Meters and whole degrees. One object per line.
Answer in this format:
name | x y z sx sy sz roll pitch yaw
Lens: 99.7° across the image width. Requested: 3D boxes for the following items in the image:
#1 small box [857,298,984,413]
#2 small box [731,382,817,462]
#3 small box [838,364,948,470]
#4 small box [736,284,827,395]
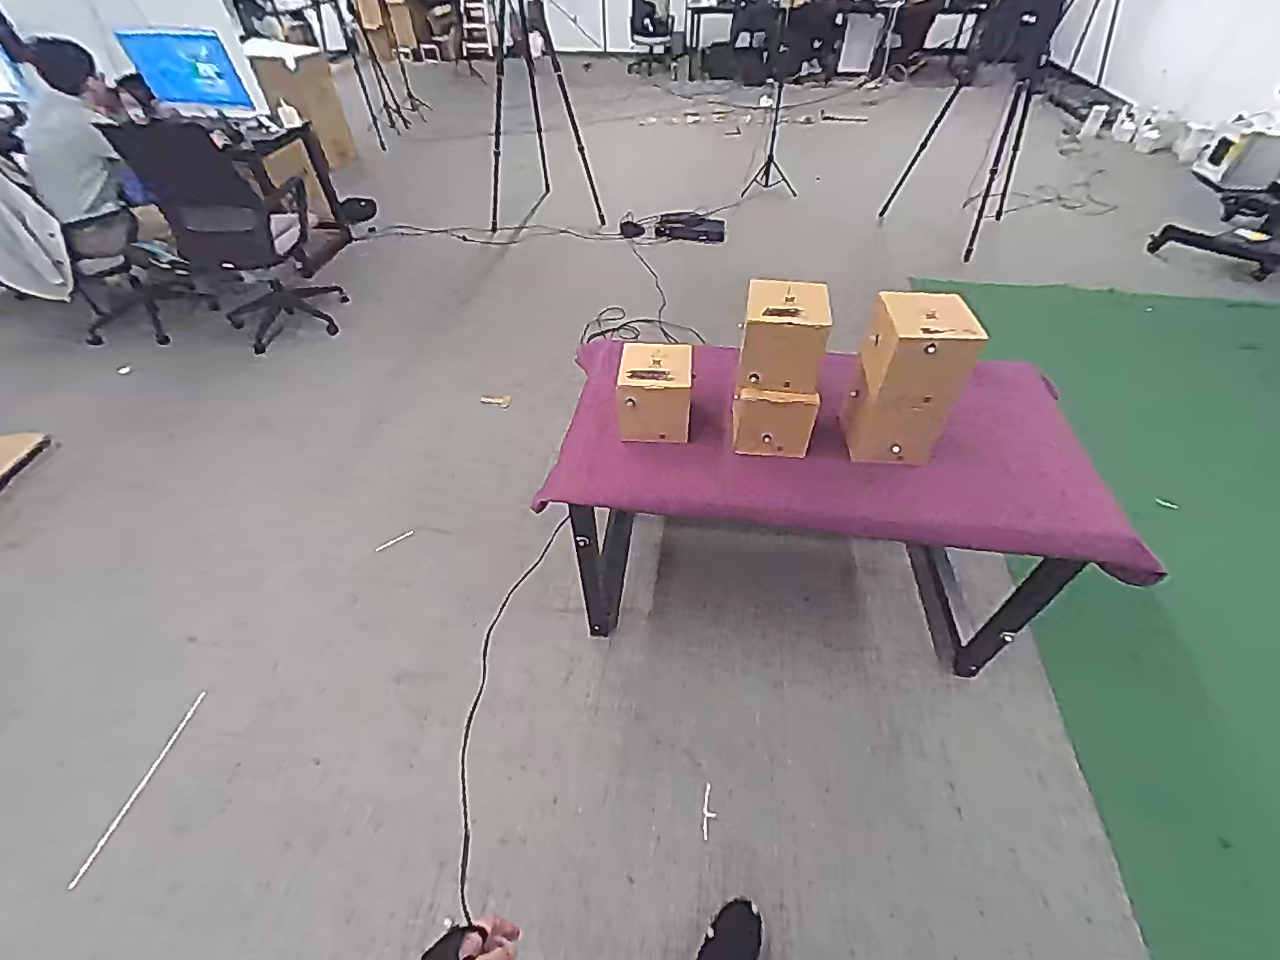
small box | 0.569 -0.260 1.127 0.168 0.176 0.179 2 45 4
small box | 0.306 -0.167 1.271 0.168 0.176 0.179 4 47 4
small box | 0.570 -0.146 1.245 0.168 0.176 0.179 3 46 4
small box | 0.302 -0.303 1.174 0.168 0.176 0.179 7 46 7
